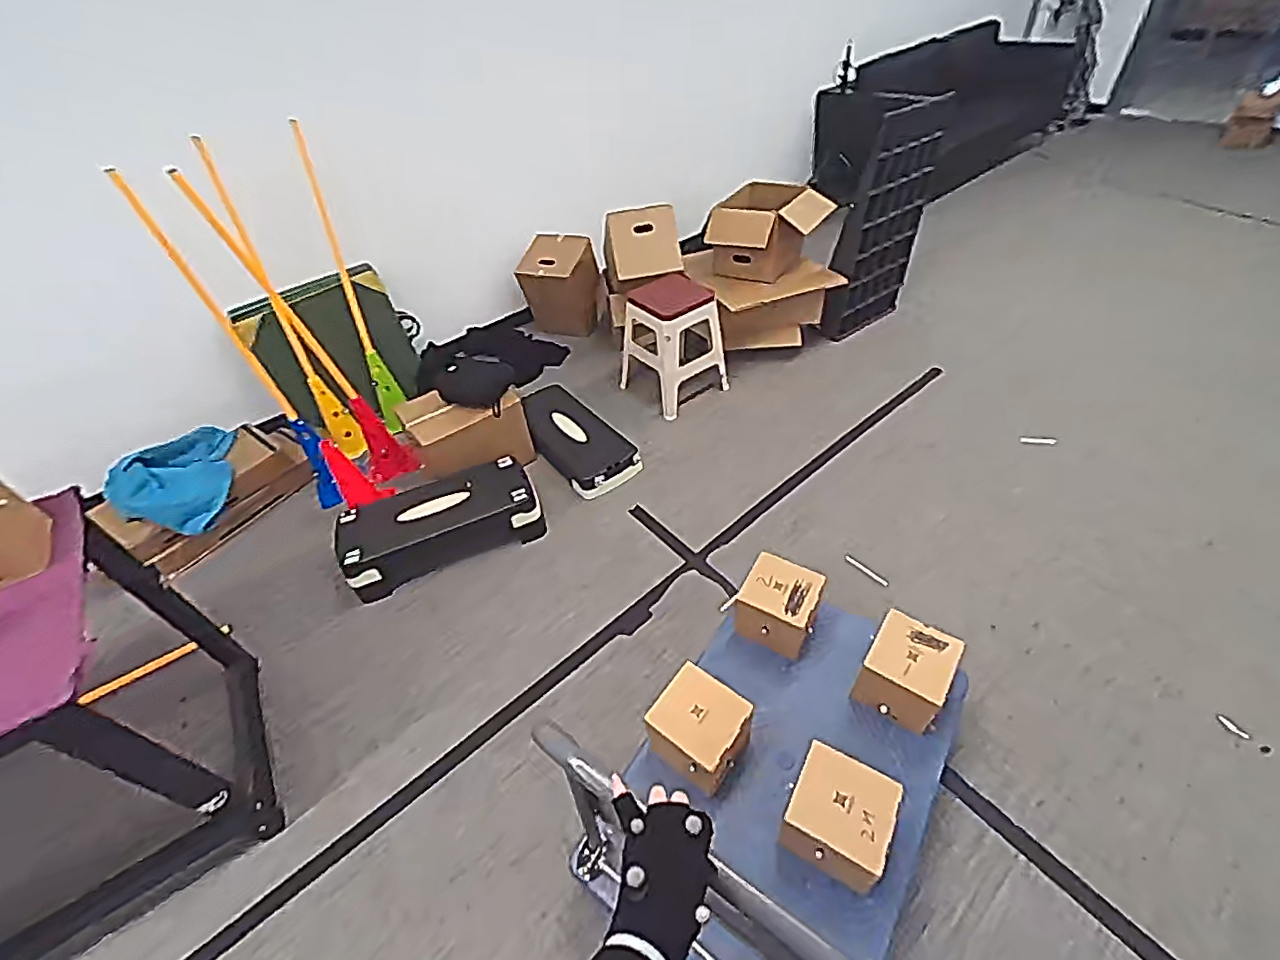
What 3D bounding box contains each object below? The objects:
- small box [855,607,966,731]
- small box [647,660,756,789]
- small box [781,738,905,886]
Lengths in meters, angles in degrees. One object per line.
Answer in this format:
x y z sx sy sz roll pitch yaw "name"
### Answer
0.614 0.435 1.244 0.168 0.176 0.179 25 54 29 "small box"
0.134 0.544 1.197 0.179 0.176 0.168 28 54 28 "small box"
0.388 0.650 1.055 0.179 0.176 0.168 21 51 26 "small box"
